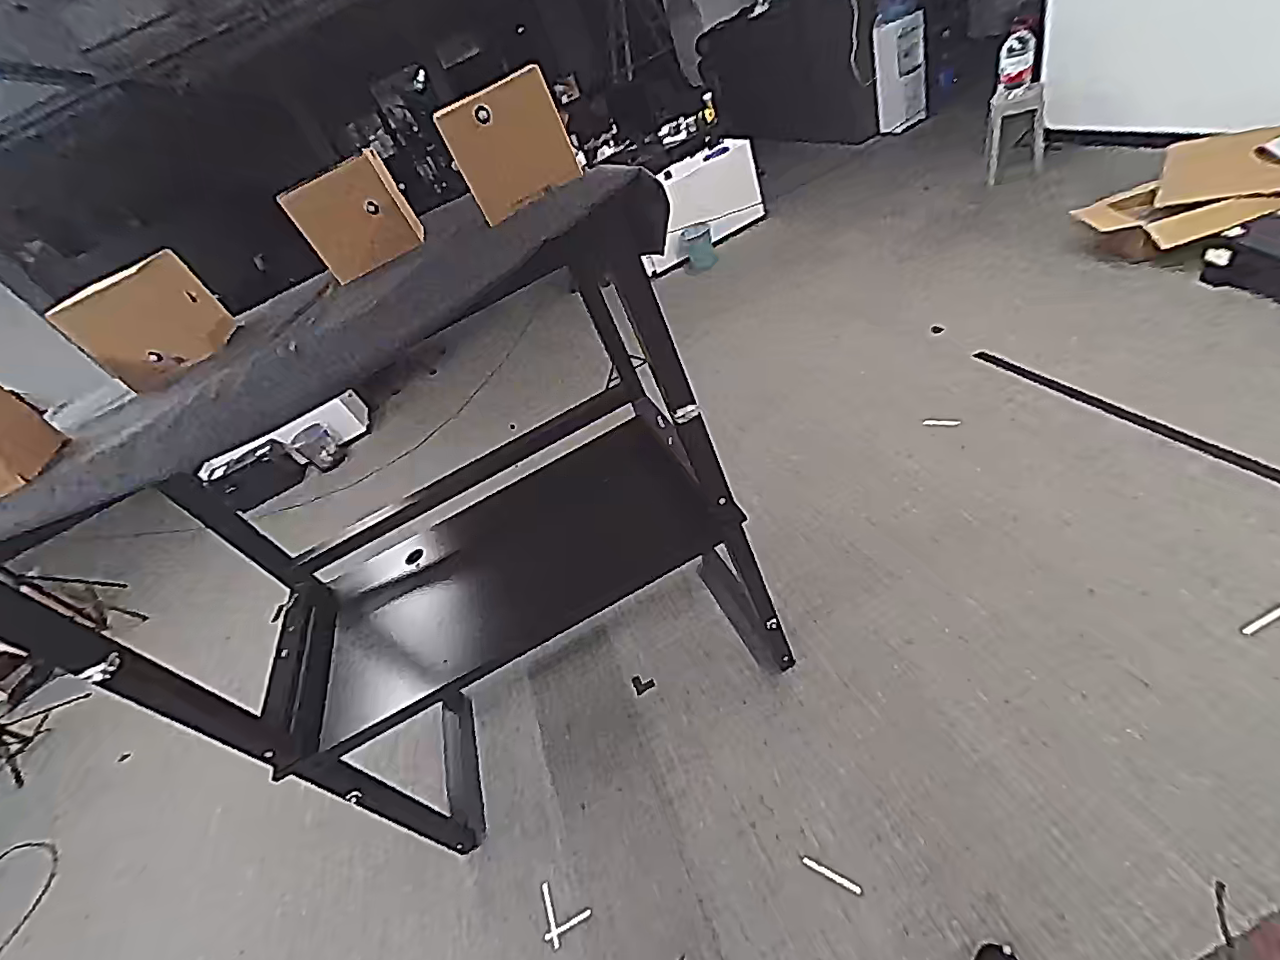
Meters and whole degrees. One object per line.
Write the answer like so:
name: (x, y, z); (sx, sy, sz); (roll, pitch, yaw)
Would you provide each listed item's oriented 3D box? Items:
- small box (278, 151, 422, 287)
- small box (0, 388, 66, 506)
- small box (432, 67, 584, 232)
small box: (-0.542, -0.502, 1.042); (0.179, 0.176, 0.168); (-28, 38, -1)
small box: (-1.032, -0.042, 0.803); (0.168, 0.176, 0.179); (-34, 40, -10)
small box: (-0.208, -0.520, 0.864); (0.168, 0.176, 0.179); (-28, 37, 1)
